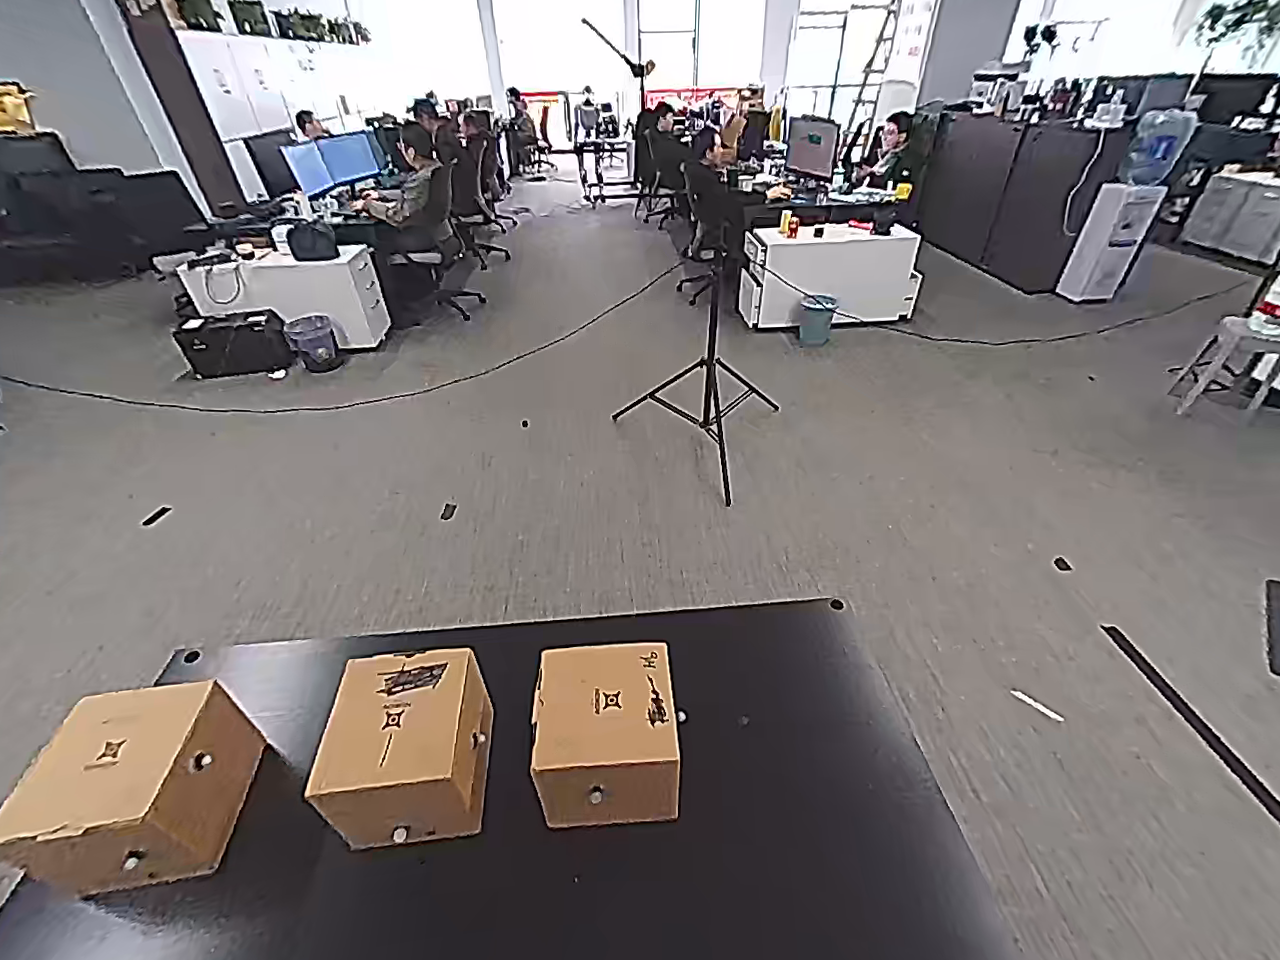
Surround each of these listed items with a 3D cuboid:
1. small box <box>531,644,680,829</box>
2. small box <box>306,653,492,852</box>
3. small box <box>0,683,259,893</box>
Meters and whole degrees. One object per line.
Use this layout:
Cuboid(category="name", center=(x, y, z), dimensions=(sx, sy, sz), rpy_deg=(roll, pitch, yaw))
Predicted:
Cuboid(category="small box", center=(-0.040, 0.346, 0.729), dimensions=(0.179, 0.176, 0.168), rpy_deg=(-3, 37, -2))
Cuboid(category="small box", center=(-0.299, 0.359, 0.719), dimensions=(0.168, 0.176, 0.179), rpy_deg=(-5, 38, -4))
Cuboid(category="small box", center=(-0.629, 0.392, 0.686), dimensions=(0.168, 0.176, 0.179), rpy_deg=(-5, 37, -7))
